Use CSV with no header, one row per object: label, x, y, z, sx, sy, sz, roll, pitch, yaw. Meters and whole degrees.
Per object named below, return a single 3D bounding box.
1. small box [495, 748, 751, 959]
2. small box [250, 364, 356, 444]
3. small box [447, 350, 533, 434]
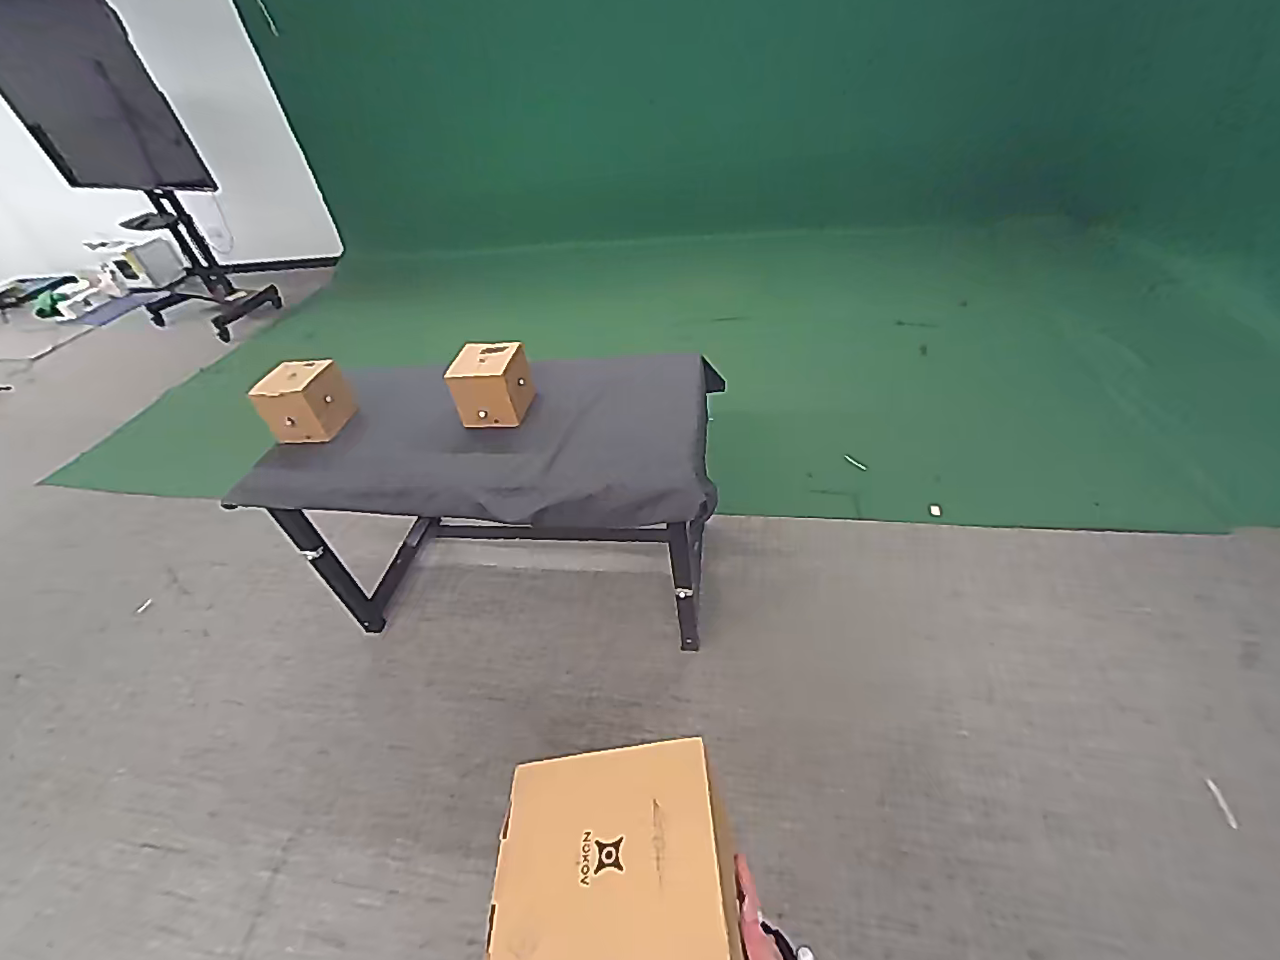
small box,-0.005,0.364,0.468,0.179,0.176,0.168,-11,36,5
small box,-0.961,-0.217,1.564,0.168,0.176,0.179,0,42,7
small box,-0.411,-0.250,1.521,0.168,0.176,0.179,1,43,9
